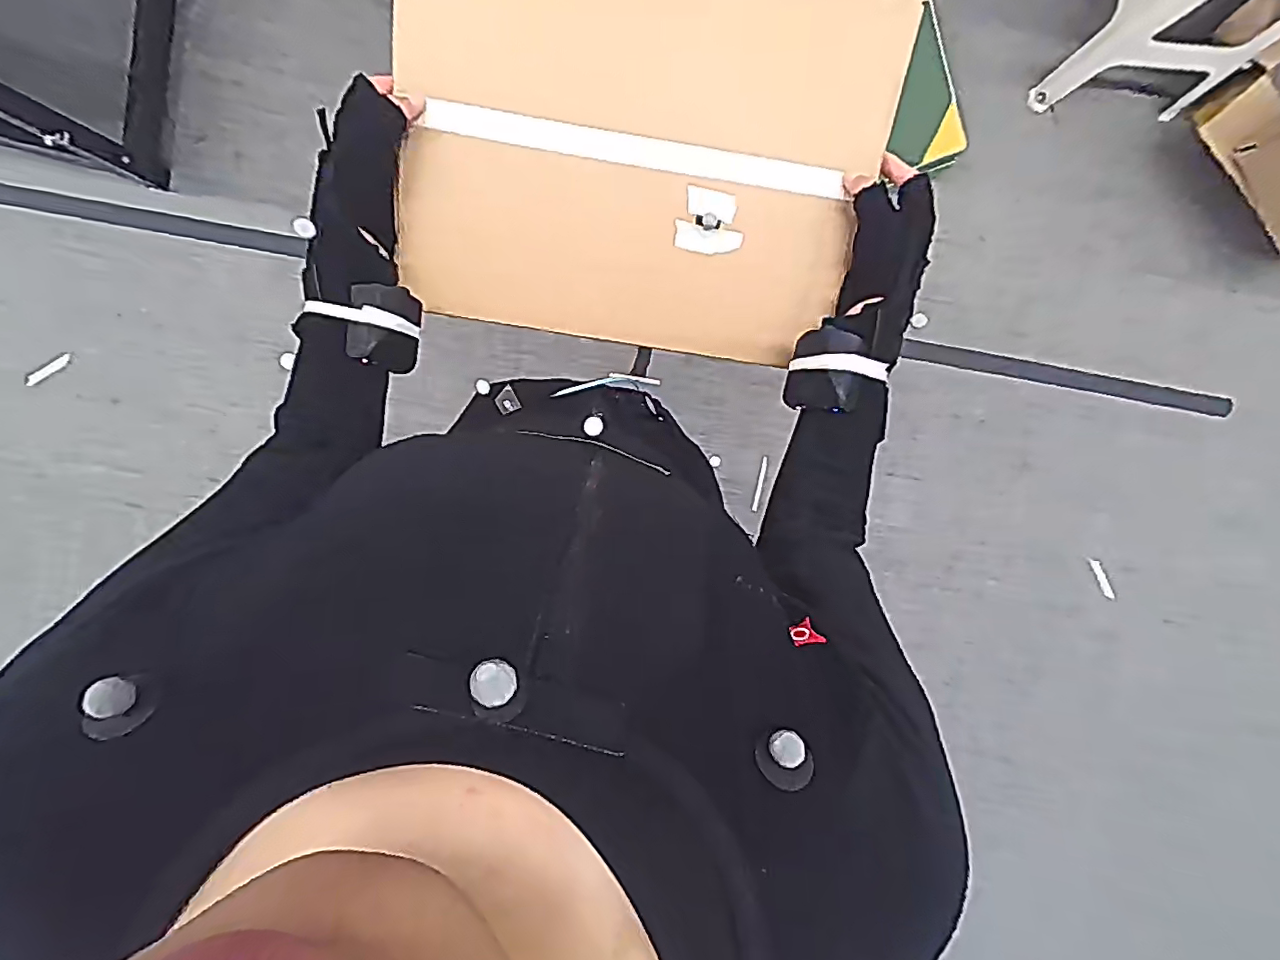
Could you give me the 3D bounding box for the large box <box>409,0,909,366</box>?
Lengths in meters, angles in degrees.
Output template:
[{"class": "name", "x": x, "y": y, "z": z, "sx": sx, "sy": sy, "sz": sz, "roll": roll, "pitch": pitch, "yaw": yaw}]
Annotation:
[{"class": "large box", "x": -0.003, "y": -0.325, "z": 0.608, "sx": 0.408, "sy": 0.320, "sz": 0.320, "roll": 7, "pitch": 110, "yaw": -4}]
